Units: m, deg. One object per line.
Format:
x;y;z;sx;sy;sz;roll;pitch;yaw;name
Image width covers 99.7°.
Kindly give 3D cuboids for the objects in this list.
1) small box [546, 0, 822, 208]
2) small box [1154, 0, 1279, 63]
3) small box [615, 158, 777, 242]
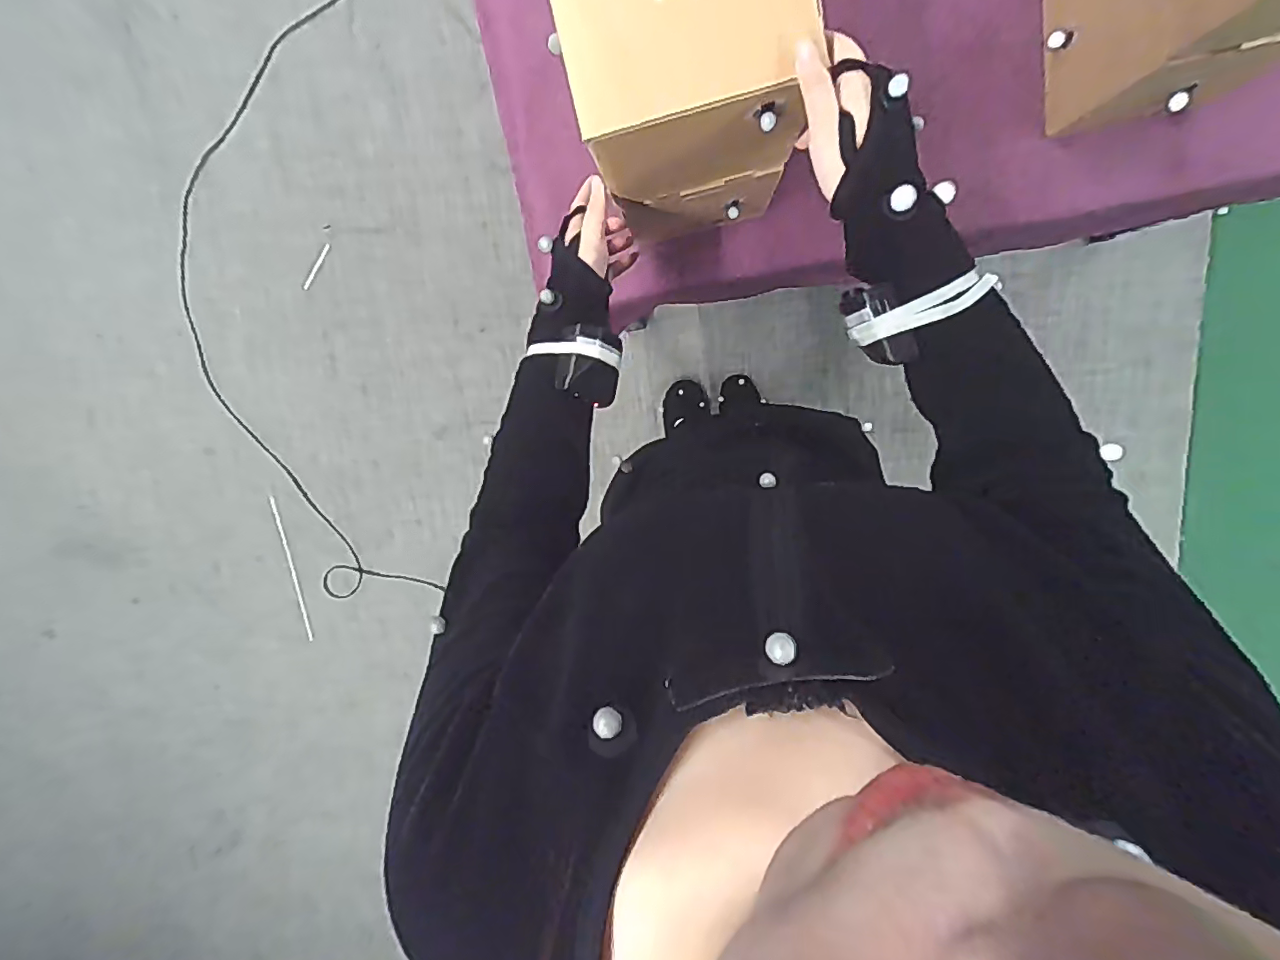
0.029;-0.347;0.441;0.179;0.176;0.168;-12;100;6;small box
0.512;-0.435;0.374;0.179;0.176;0.168;-9;101;7;small box
0.048;-0.379;0.600;0.168;0.176;0.179;-10;100;6;small box
